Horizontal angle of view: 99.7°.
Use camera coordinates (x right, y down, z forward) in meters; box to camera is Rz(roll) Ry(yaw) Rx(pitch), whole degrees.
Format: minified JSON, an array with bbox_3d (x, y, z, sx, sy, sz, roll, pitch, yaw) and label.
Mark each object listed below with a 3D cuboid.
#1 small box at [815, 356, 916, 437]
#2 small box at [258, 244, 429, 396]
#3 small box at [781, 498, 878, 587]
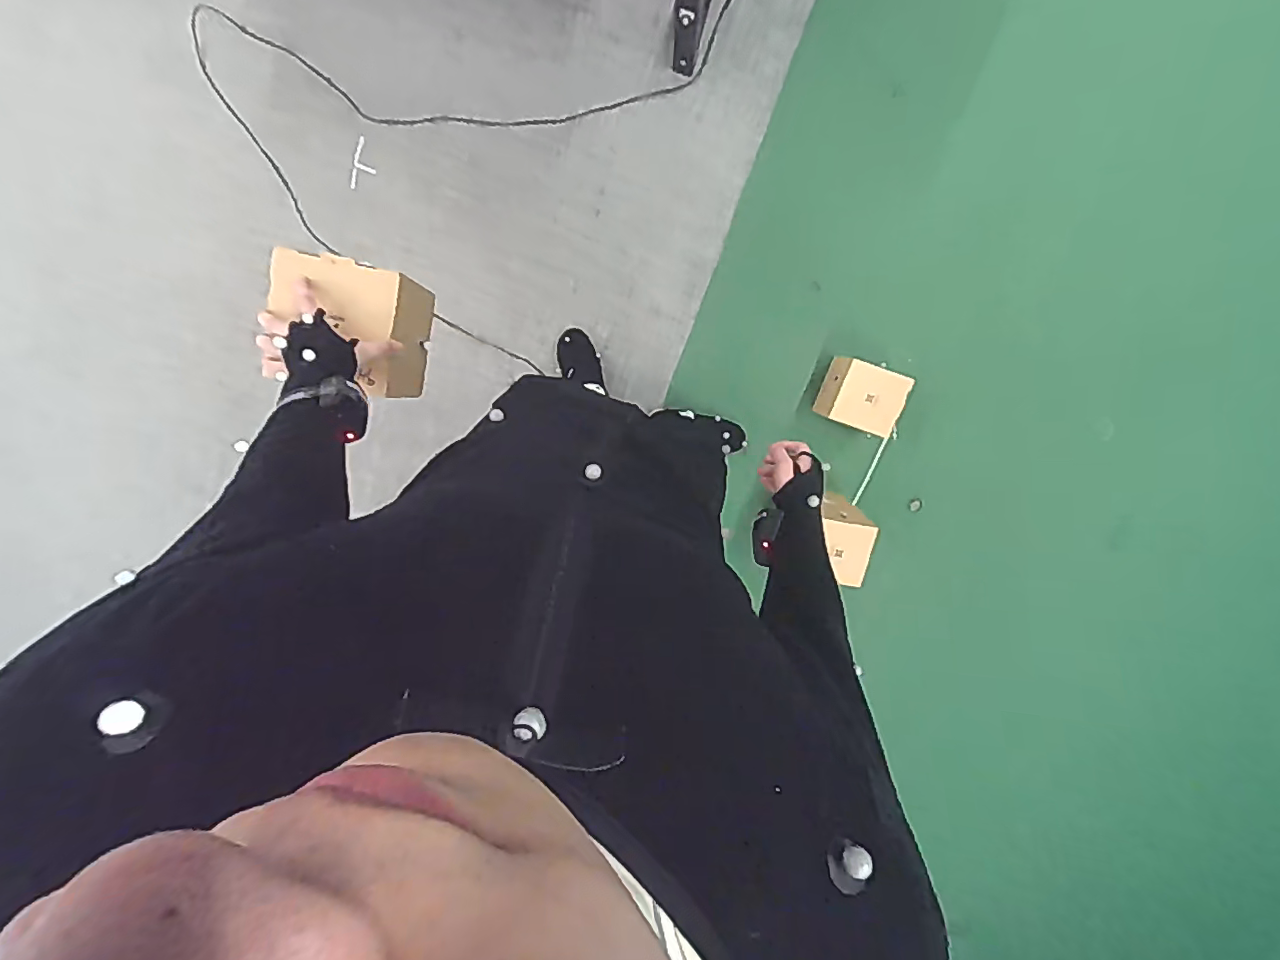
[{"bbox_3d":[0.604,-0.233,1.478,0.179,0.176,0.168,18,105,-4],"label":"small box"},{"bbox_3d":[-0.432,-0.227,0.814,0.168,0.176,0.179,10,98,-5],"label":"small box"},{"bbox_3d":[0.488,0.158,1.420,0.179,0.176,0.168,11,105,0],"label":"small box"}]
